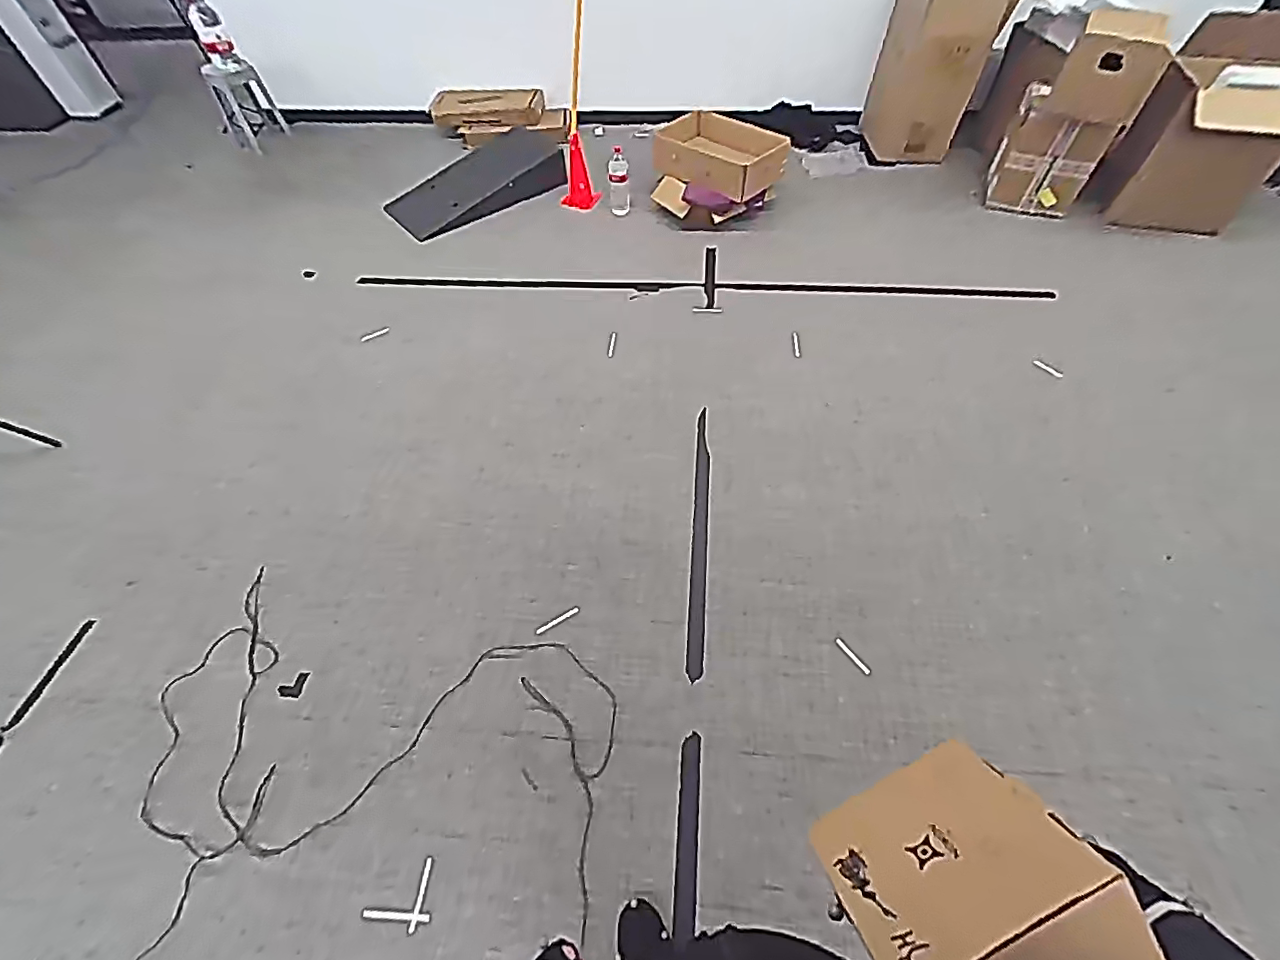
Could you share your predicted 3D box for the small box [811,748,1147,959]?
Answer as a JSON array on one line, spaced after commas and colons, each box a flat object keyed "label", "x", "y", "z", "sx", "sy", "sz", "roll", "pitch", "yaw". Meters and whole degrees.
[{"label": "small box", "x": 0.283, "y": 0.379, "z": 0.456, "sx": 0.179, "sy": 0.168, "sz": 0.176, "roll": -28, "pitch": 95, "yaw": -2}]
